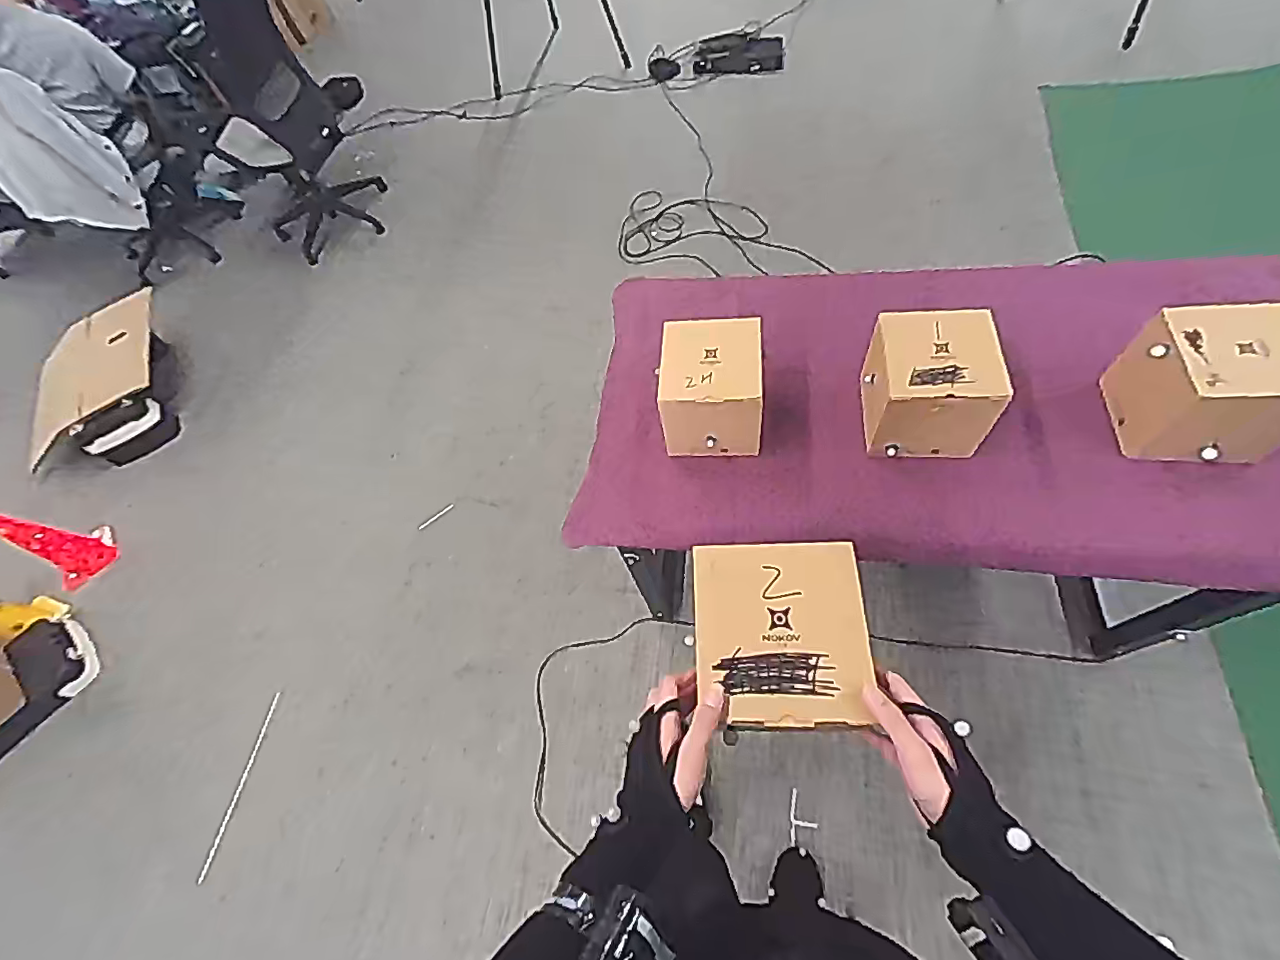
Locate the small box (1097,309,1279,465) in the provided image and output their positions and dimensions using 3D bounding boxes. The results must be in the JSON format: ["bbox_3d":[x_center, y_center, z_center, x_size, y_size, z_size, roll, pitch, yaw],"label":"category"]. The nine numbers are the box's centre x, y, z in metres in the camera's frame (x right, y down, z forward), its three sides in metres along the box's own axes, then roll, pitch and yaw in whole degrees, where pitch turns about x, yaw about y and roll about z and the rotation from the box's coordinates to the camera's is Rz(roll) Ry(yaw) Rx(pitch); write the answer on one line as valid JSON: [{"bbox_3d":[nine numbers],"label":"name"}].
[{"bbox_3d":[0.848,-0.134,0.811,0.179,0.176,0.168,3,61,12],"label":"small box"}]

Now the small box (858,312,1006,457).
[{"bbox_3d":[0.465,-0.150,0.890,0.168,0.176,0.179,2,60,11],"label":"small box"}]

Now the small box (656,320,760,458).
[{"bbox_3d":[0.125,-0.157,0.955,0.168,0.176,0.179,0,61,11],"label":"small box"}]
